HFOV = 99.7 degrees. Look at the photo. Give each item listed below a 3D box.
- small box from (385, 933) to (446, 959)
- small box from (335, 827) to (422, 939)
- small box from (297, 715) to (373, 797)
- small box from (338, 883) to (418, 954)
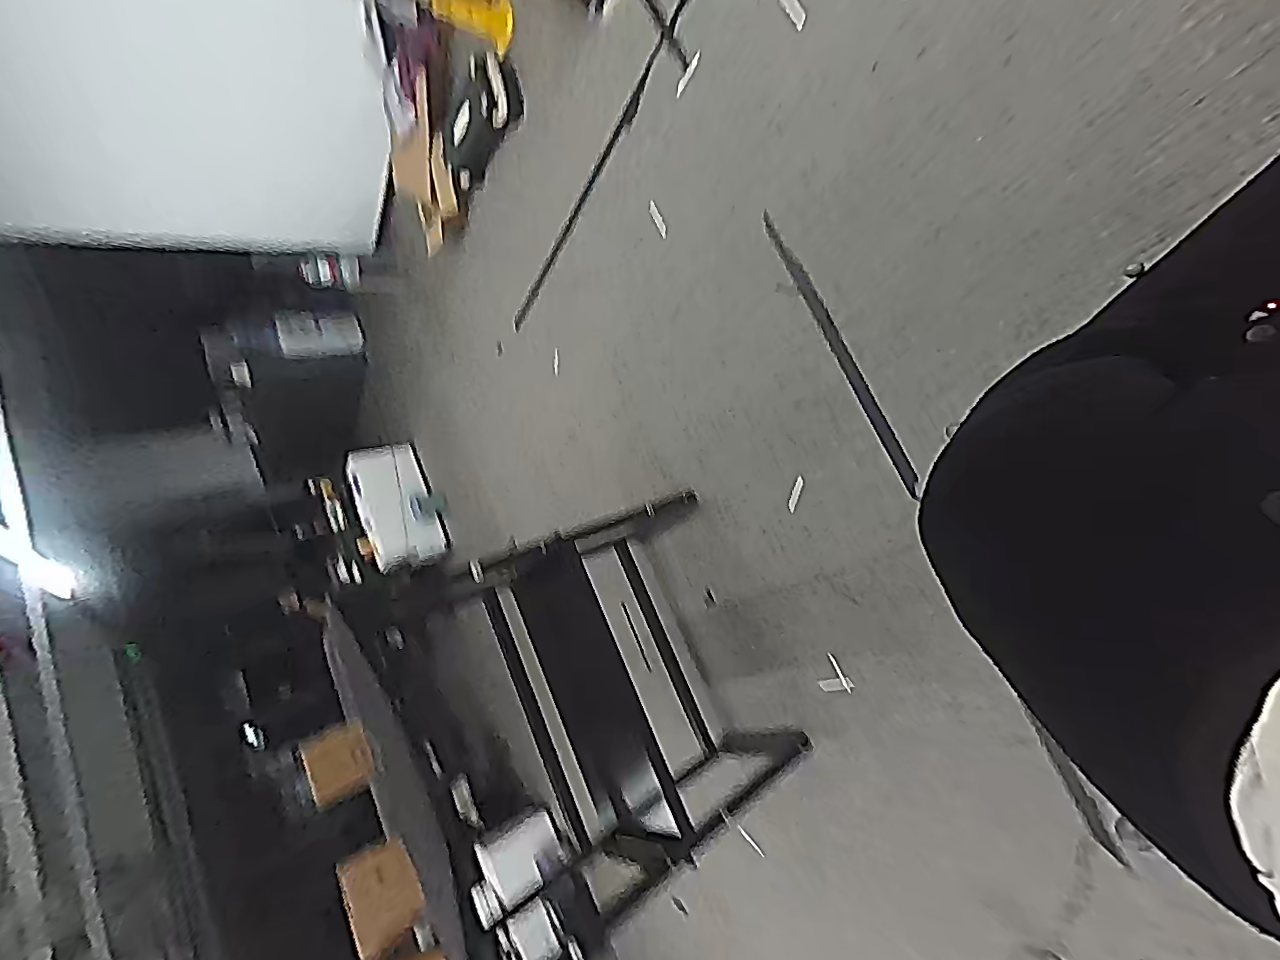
[{"bbox_3d":[-0.593,1.332,1.408,0.179,0.176,0.168,-42,69,49],"label":"small box"},{"bbox_3d":[-0.714,1.084,1.473,0.168,0.176,0.179,-42,69,52],"label":"small box"},{"bbox_3d":[-0.954,0.855,1.694,0.179,0.176,0.168,-32,77,51],"label":"small box"},{"bbox_3d":[-0.787,1.261,1.628,0.179,0.176,0.168,-36,73,51],"label":"small box"}]
